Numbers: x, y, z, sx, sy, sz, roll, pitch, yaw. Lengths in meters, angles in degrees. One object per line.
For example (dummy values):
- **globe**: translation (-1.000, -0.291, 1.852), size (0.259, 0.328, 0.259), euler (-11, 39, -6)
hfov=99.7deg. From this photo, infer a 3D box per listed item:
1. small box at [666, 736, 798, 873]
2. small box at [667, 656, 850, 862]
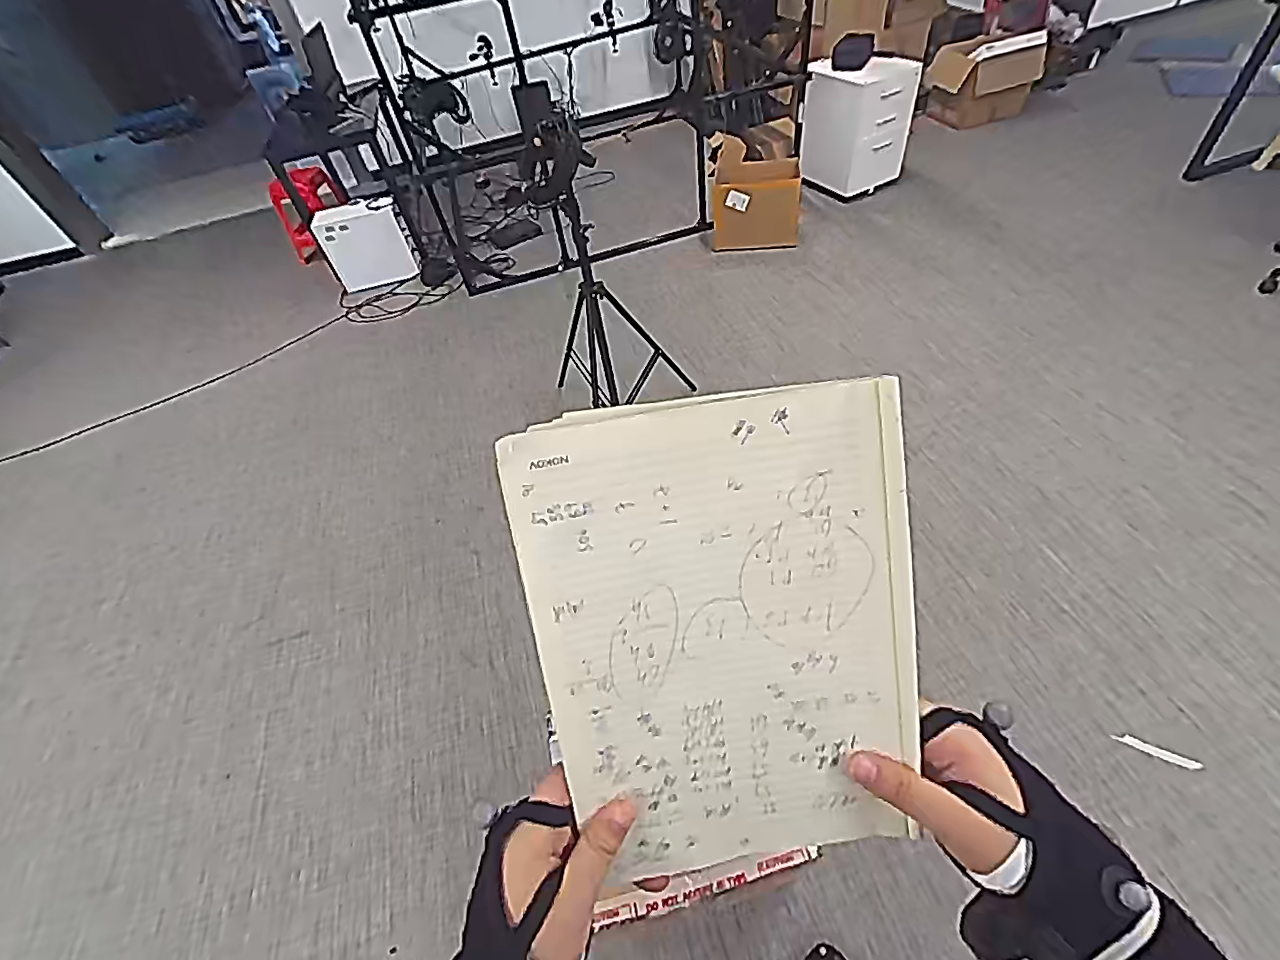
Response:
- **small box**: translation (0.149, 0.467, 0.820), size (0.179, 0.176, 0.168), euler (-18, 50, -8)
- **small box**: translation (0.137, 0.360, 0.696), size (0.168, 0.176, 0.179), euler (-15, 50, -6)
